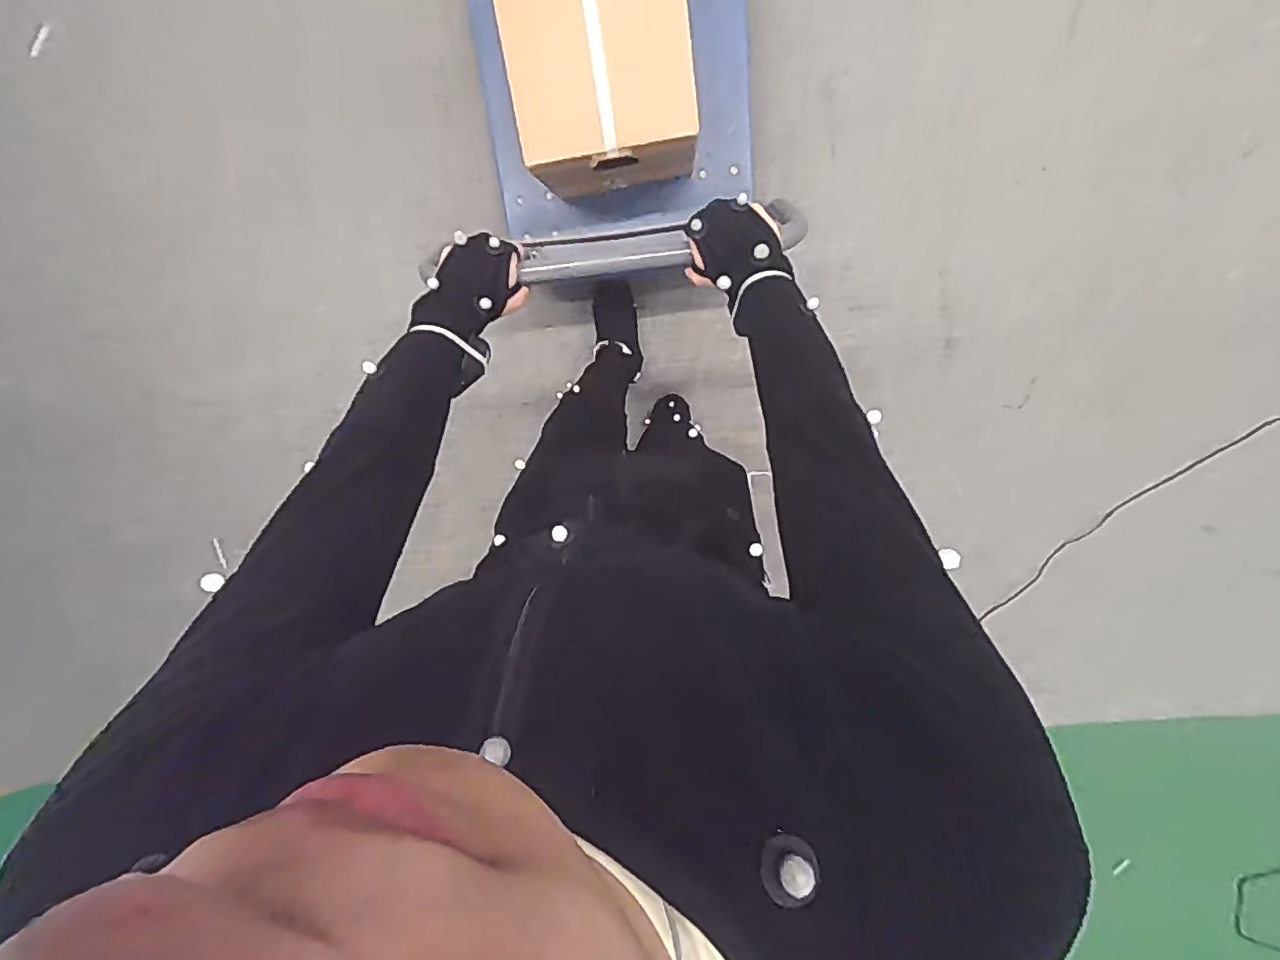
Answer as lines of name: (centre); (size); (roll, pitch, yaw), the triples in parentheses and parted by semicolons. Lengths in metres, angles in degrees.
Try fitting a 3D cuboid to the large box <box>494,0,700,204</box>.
large box: (-0.068, -0.799, 1.037); (0.320, 0.320, 0.408); (-8, 107, 6)
